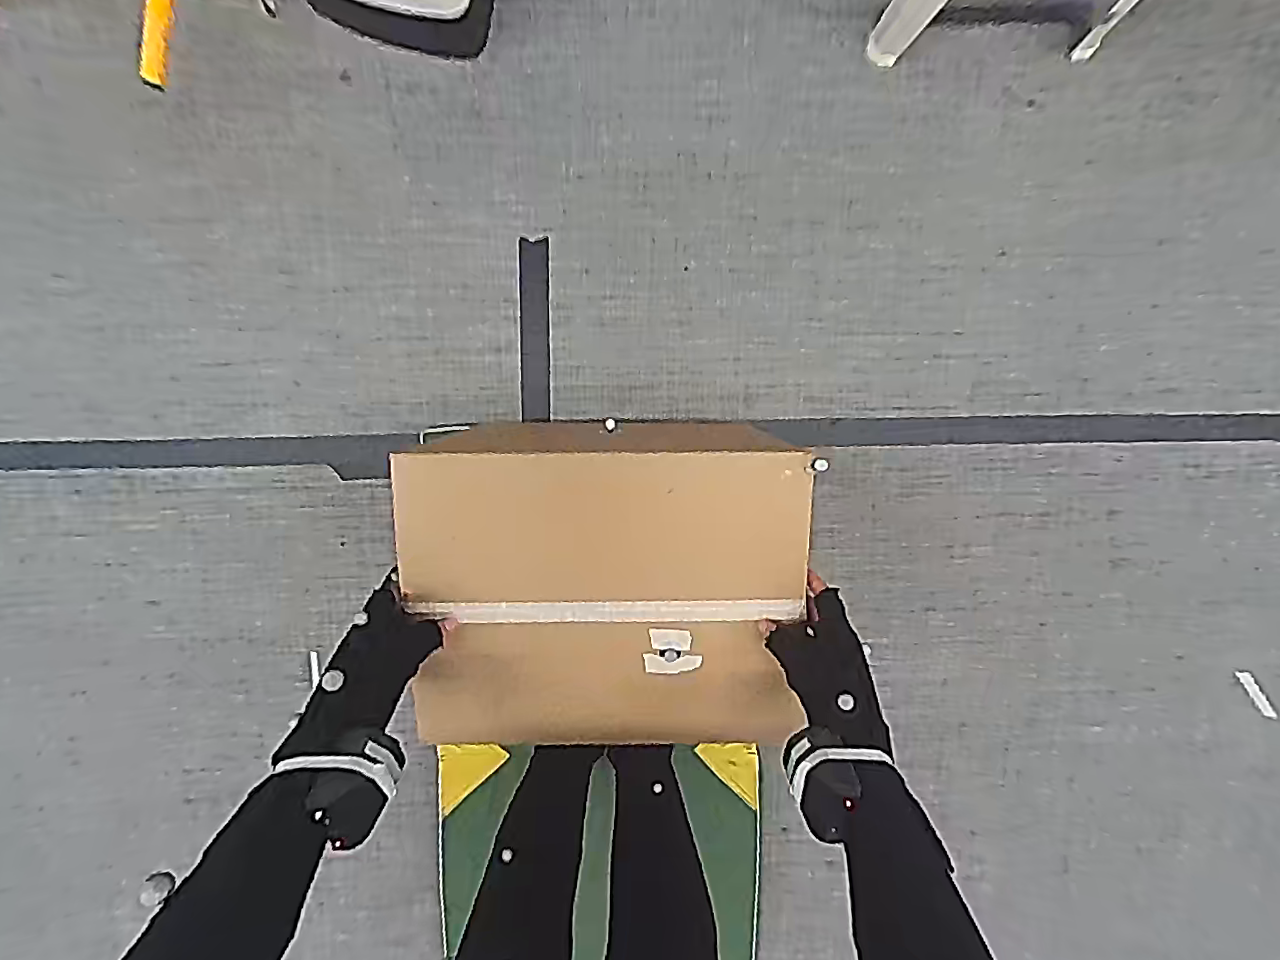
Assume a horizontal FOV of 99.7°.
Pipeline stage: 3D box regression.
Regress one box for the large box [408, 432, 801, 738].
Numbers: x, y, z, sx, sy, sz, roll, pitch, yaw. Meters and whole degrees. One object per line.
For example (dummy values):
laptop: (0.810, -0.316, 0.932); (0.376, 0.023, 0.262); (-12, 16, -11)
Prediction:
large box: (-0.037, 0.103, 0.714); (0.408, 0.320, 0.320); (0, 101, -1)
